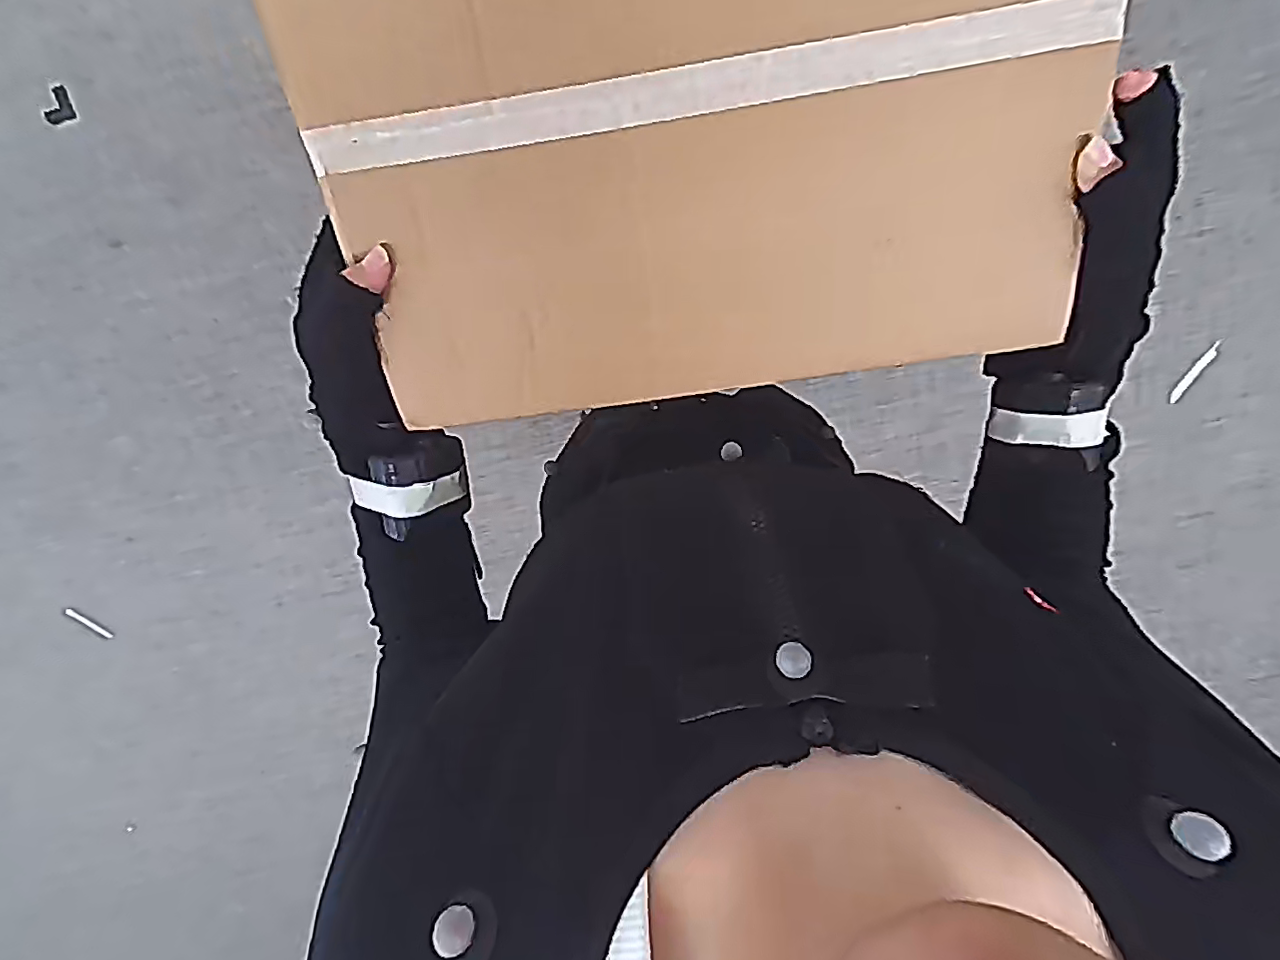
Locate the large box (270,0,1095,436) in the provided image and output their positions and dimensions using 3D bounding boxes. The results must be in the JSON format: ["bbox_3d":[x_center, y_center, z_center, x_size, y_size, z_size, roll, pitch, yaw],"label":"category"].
[{"bbox_3d":[0.027,-0.257,0.416,0.408,0.320,0.320,-7,115,3],"label":"large box"}]
